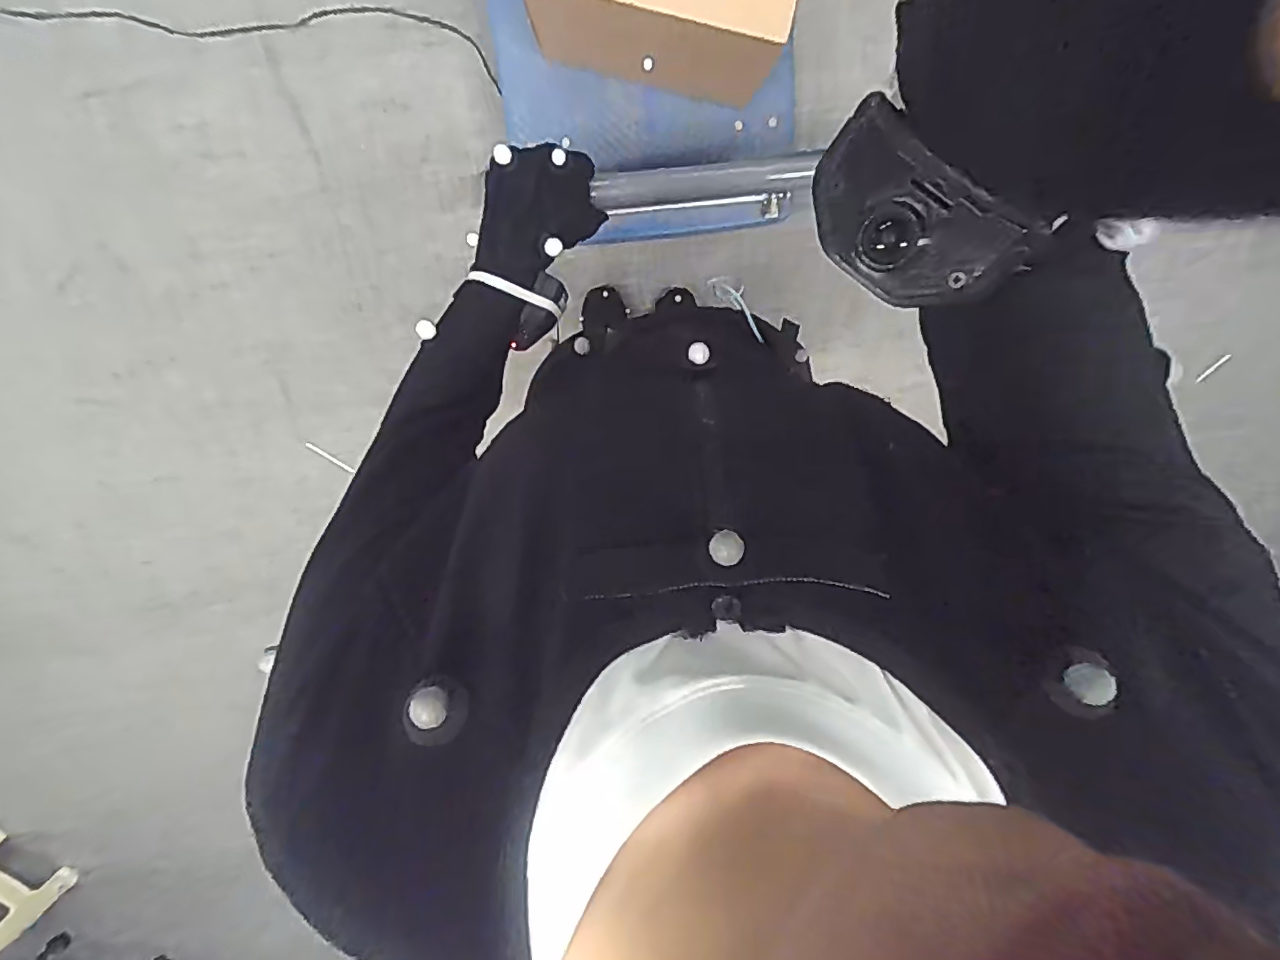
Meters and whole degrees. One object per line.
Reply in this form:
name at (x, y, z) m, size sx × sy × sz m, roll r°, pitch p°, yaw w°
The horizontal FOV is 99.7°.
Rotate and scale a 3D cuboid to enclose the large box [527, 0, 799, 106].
large box at (0.052, -0.861, 0.877) m, size 0.408 × 0.320 × 0.320 m, roll 10°, pitch 109°, yaw -4°
